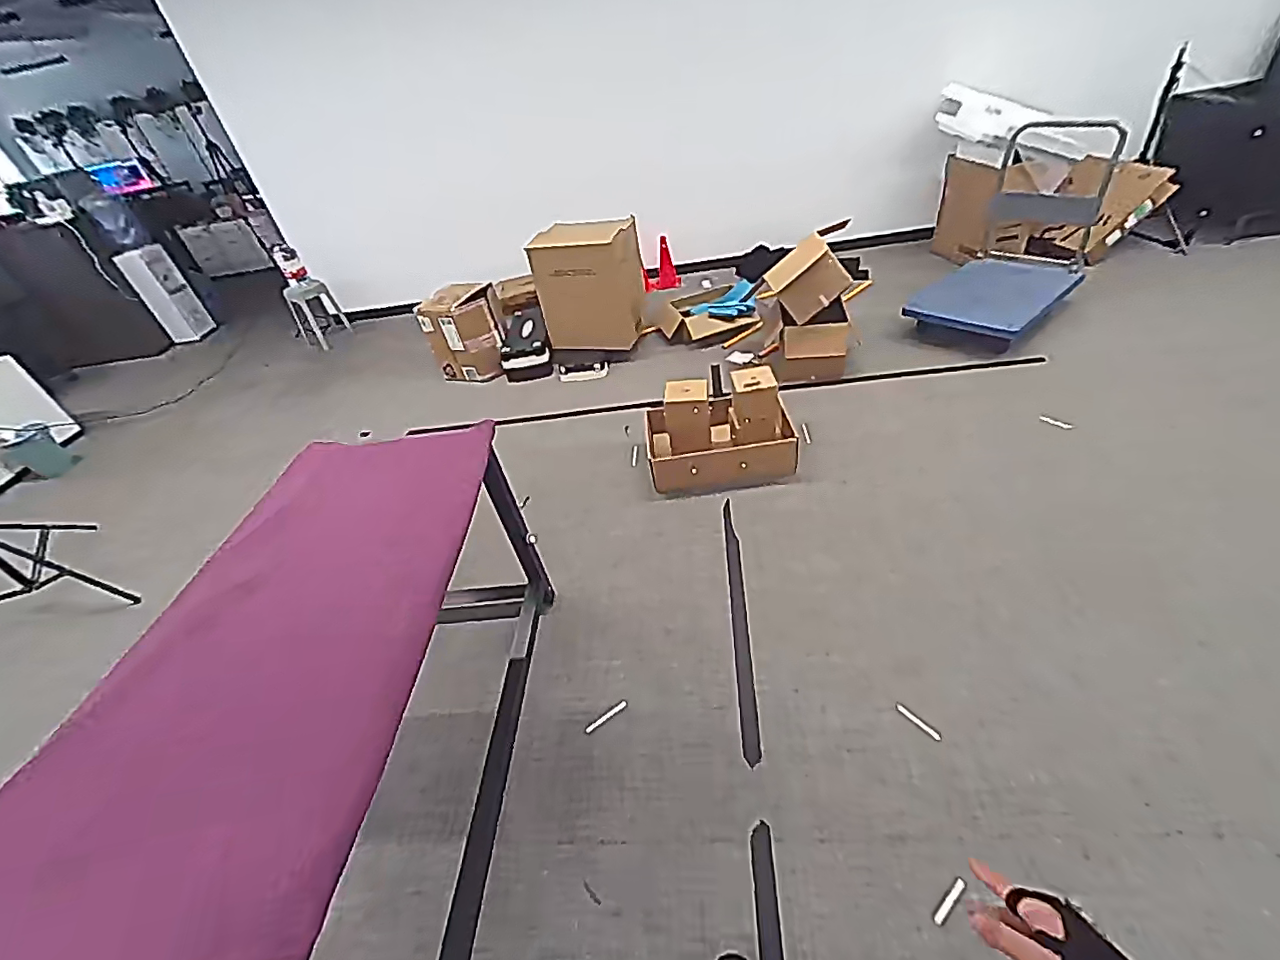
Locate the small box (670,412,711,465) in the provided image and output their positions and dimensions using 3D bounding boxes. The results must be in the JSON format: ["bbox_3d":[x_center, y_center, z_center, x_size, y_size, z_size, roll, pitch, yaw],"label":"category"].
[{"bbox_3d":[0.226,-0.183,2.383,0.168,0.176,0.179,-1,40,11],"label":"small box"}]

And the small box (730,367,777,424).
[{"bbox_3d":[0.474,-0.345,2.252,0.168,0.176,0.179,-8,38,5],"label":"small box"}]

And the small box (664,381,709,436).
[{"bbox_3d":[0.199,-0.298,2.266,0.179,0.176,0.168,-2,39,10],"label":"small box"}]
